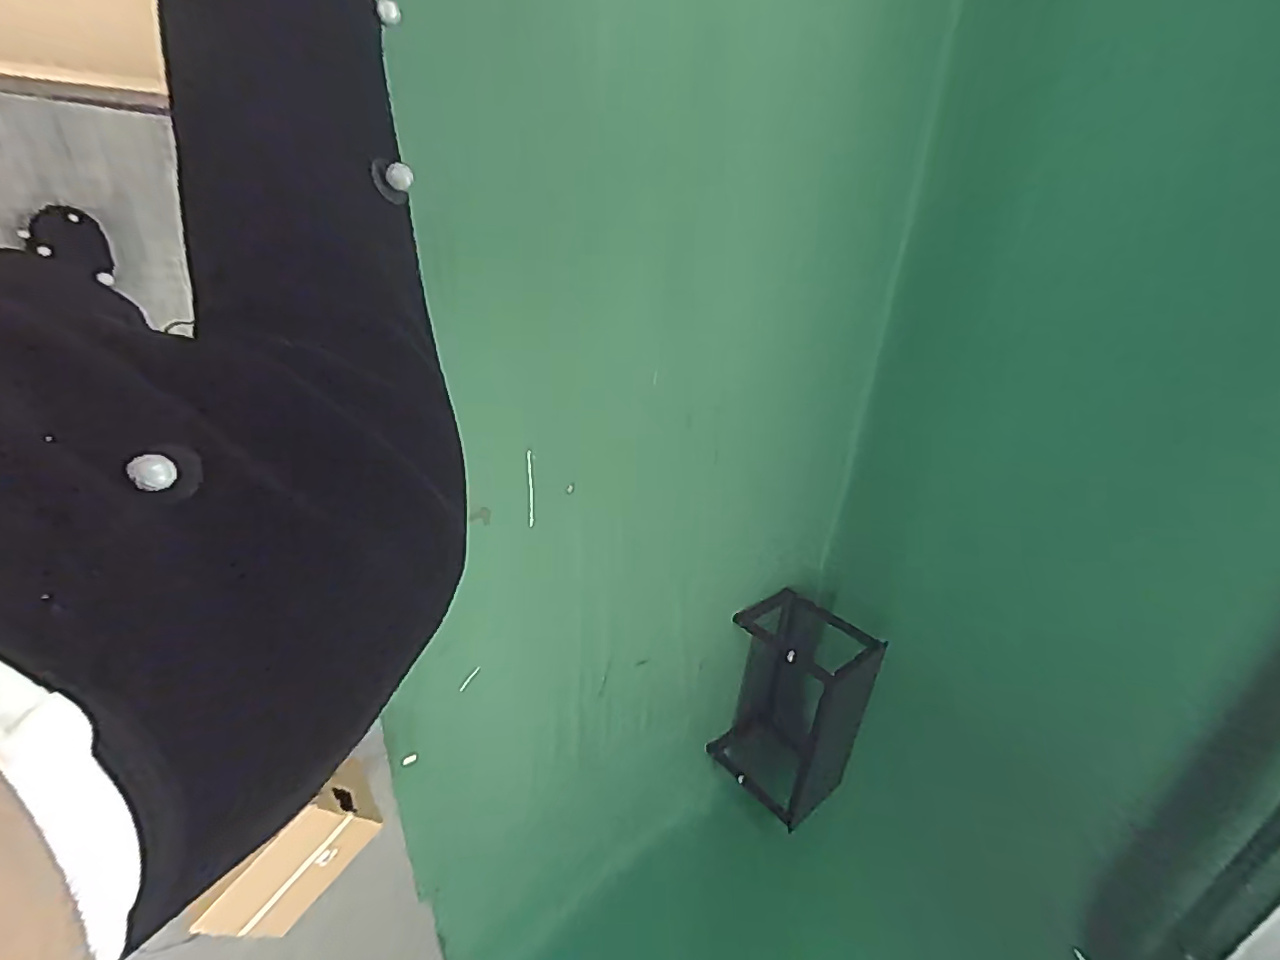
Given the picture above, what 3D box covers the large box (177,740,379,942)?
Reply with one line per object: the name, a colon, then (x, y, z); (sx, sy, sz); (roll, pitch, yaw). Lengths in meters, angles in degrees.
large box: (-1.120, 1.113, 1.683); (0.408, 0.320, 0.320); (-48, 137, -16)
